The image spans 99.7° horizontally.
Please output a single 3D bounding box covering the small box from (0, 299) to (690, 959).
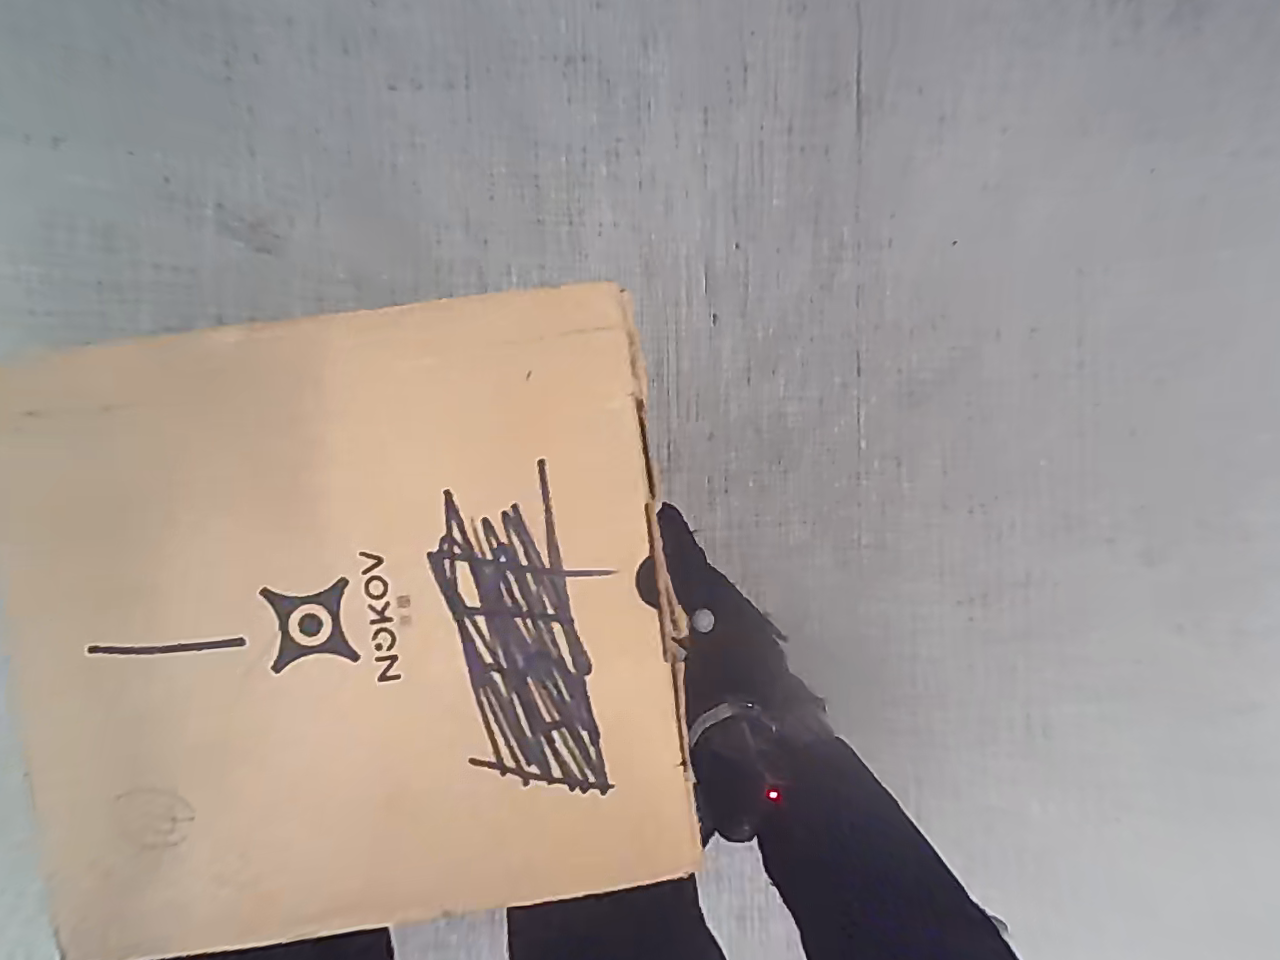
[{"bbox_3d":[-0.083,0.040,0.220,0.179,0.176,0.168,-7,91,0],"label":"small box"}]
